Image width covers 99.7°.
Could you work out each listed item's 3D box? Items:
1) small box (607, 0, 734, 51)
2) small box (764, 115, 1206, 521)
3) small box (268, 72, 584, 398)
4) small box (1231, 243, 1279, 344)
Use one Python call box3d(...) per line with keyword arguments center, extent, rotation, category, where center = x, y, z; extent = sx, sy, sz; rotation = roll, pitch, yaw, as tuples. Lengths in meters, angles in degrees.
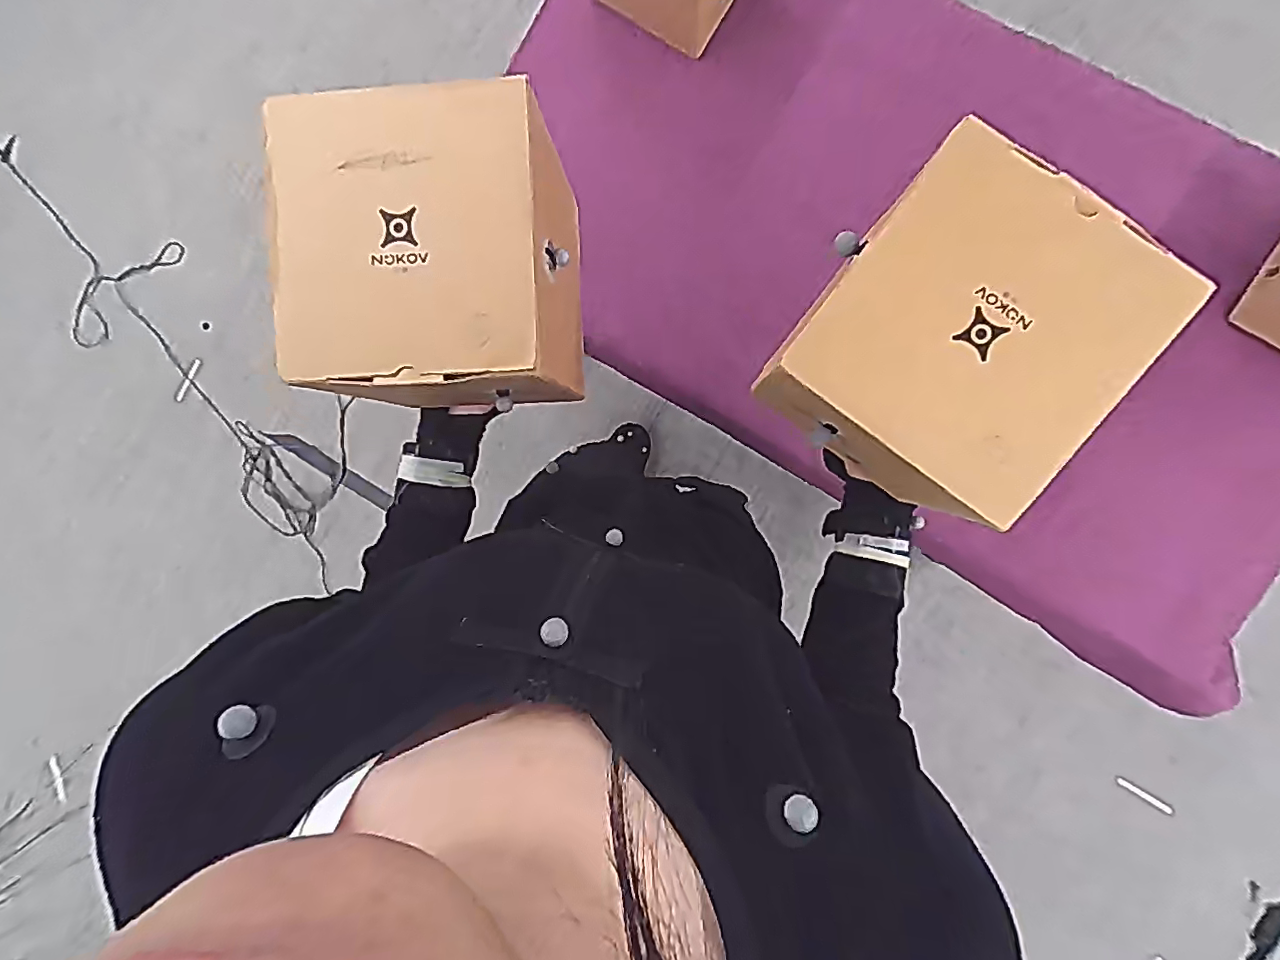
box3d(center=(0.042, -0.678, 0.649), extent=(0.179, 0.176, 0.168), rotation=(33, 96, 1), category="small box")
box3d(center=(0.206, -0.095, 0.389), extent=(0.168, 0.176, 0.179), rotation=(37, 95, 2), category="small box")
box3d(center=(-0.137, -0.155, 0.407), extent=(0.168, 0.176, 0.179), rotation=(-2, 92, 3), category="small box")
box3d(center=(0.846, -0.228, 0.597), extent=(0.179, 0.176, 0.168), rotation=(31, 95, 2), category="small box")
